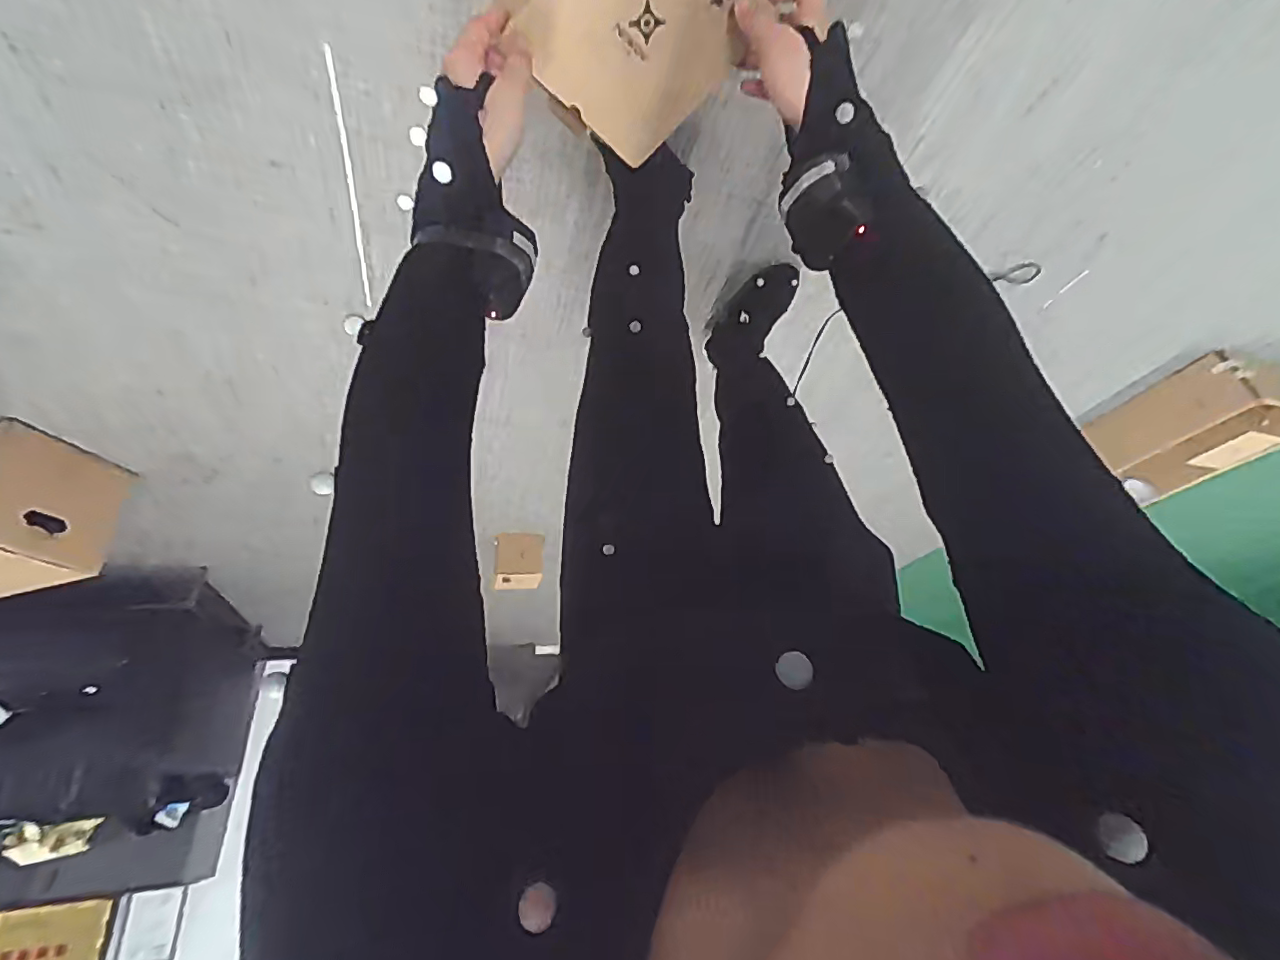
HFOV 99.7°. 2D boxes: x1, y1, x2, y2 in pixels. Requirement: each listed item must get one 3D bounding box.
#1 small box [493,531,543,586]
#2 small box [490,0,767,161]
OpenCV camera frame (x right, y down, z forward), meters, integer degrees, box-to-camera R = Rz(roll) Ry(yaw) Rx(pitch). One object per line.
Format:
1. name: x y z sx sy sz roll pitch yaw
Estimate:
1. small box: -0.493 0.316 2.181 0.179 0.176 0.168 5 148 -19
2. small box: -0.016 -0.448 0.483 0.179 0.176 0.168 -28 149 36
